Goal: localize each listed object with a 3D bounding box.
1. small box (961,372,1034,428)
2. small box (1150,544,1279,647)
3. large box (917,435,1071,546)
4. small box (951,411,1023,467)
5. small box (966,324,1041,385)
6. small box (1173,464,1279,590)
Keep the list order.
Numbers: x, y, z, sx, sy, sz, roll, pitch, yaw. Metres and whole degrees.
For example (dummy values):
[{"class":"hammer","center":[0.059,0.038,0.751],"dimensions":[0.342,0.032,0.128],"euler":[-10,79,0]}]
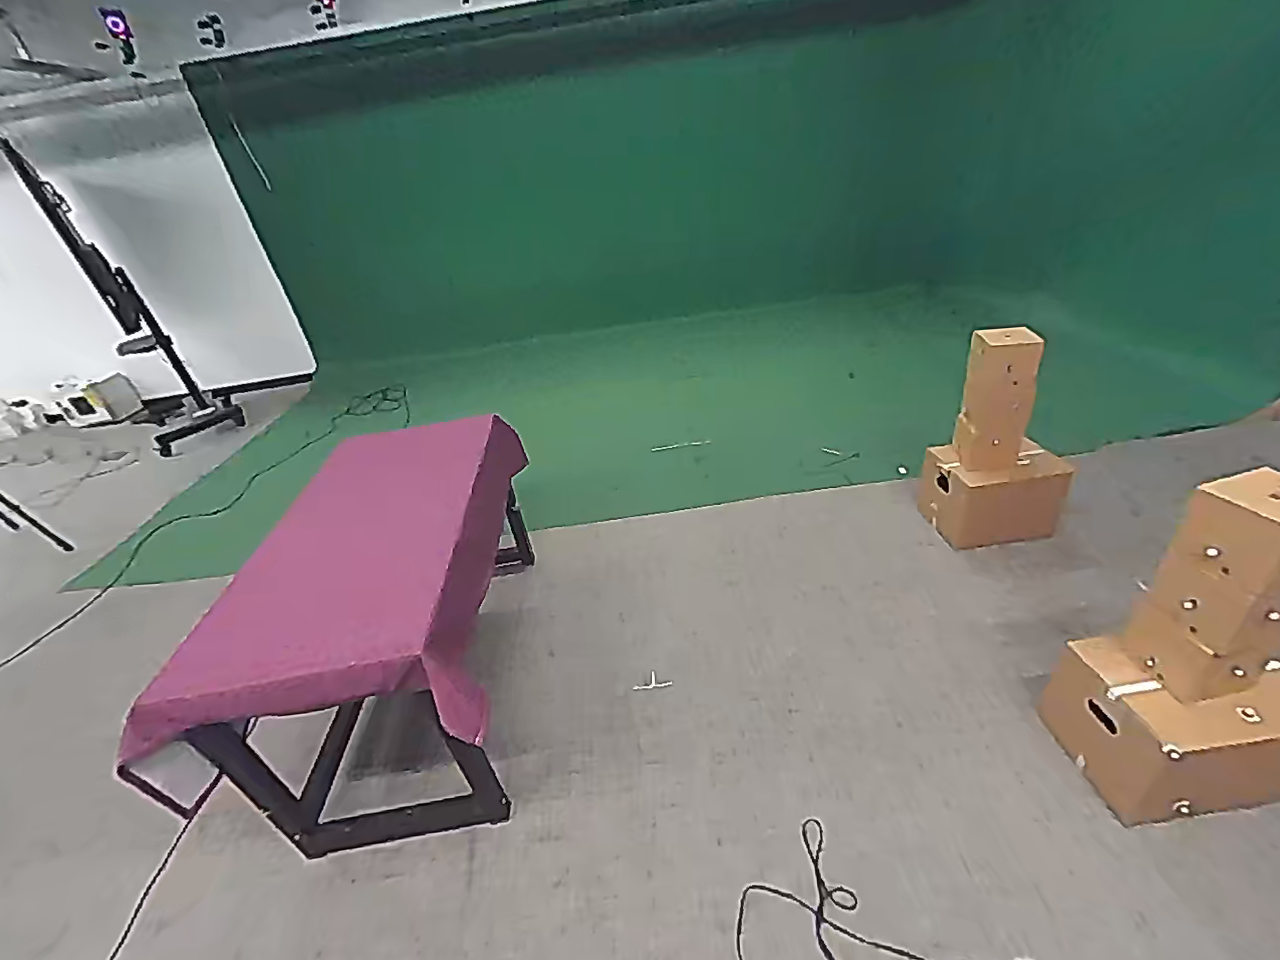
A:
[{"class":"small box","center":[1.327,-0.304,2.020],"dimensions":[0.179,0.176,0.168],"euler":[-2,31,14]},{"class":"small box","center":[1.270,0.234,1.174],"dimensions":[0.179,0.176,0.168],"euler":[-14,31,-6]},{"class":"large box","center":[1.427,0.036,2.221],"dimensions":[0.408,0.320,0.320],"euler":[-8,32,0]},{"class":"small box","center":[1.341,-0.163,2.101],"dimensions":[0.179,0.176,0.168],"euler":[-4,32,10]},{"class":"small box","center":[1.299,-0.447,1.943],"dimensions":[0.168,0.176,0.179],"euler":[-1,32,14]},{"class":"small box","center":[1.248,0.094,1.090],"dimensions":[0.179,0.176,0.168],"euler":[-14,30,-7]}]
